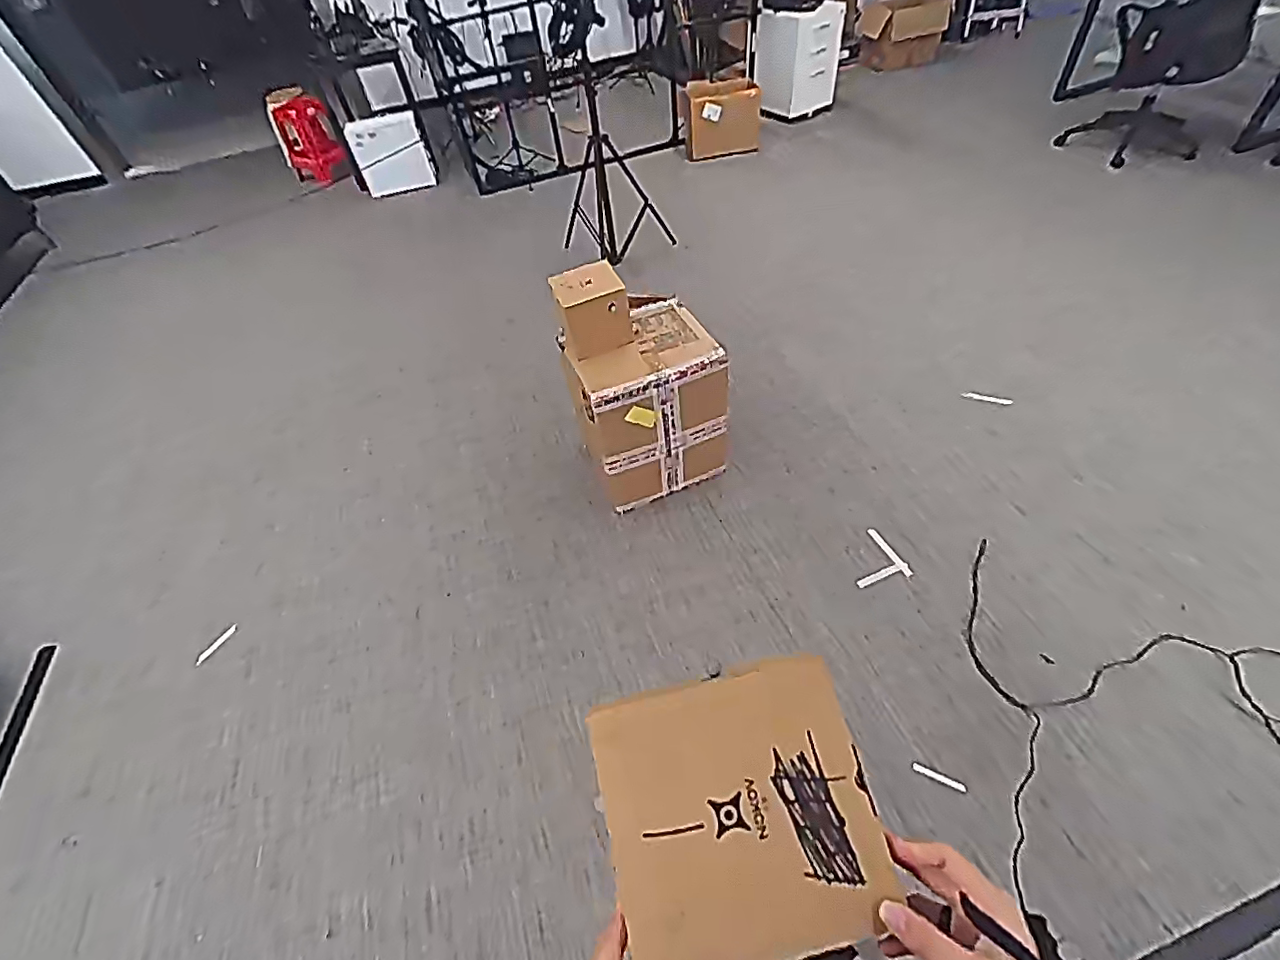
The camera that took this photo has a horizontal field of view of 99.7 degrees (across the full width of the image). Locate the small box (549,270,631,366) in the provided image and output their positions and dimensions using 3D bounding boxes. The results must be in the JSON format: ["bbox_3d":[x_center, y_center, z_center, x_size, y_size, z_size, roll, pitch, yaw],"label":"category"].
[{"bbox_3d":[-0.131,-0.446,1.499,0.179,0.176,0.168,-21,50,-7],"label":"small box"}]

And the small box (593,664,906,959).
[{"bbox_3d":[0.067,0.250,0.434,0.179,0.176,0.168,-13,70,-4],"label":"small box"}]
